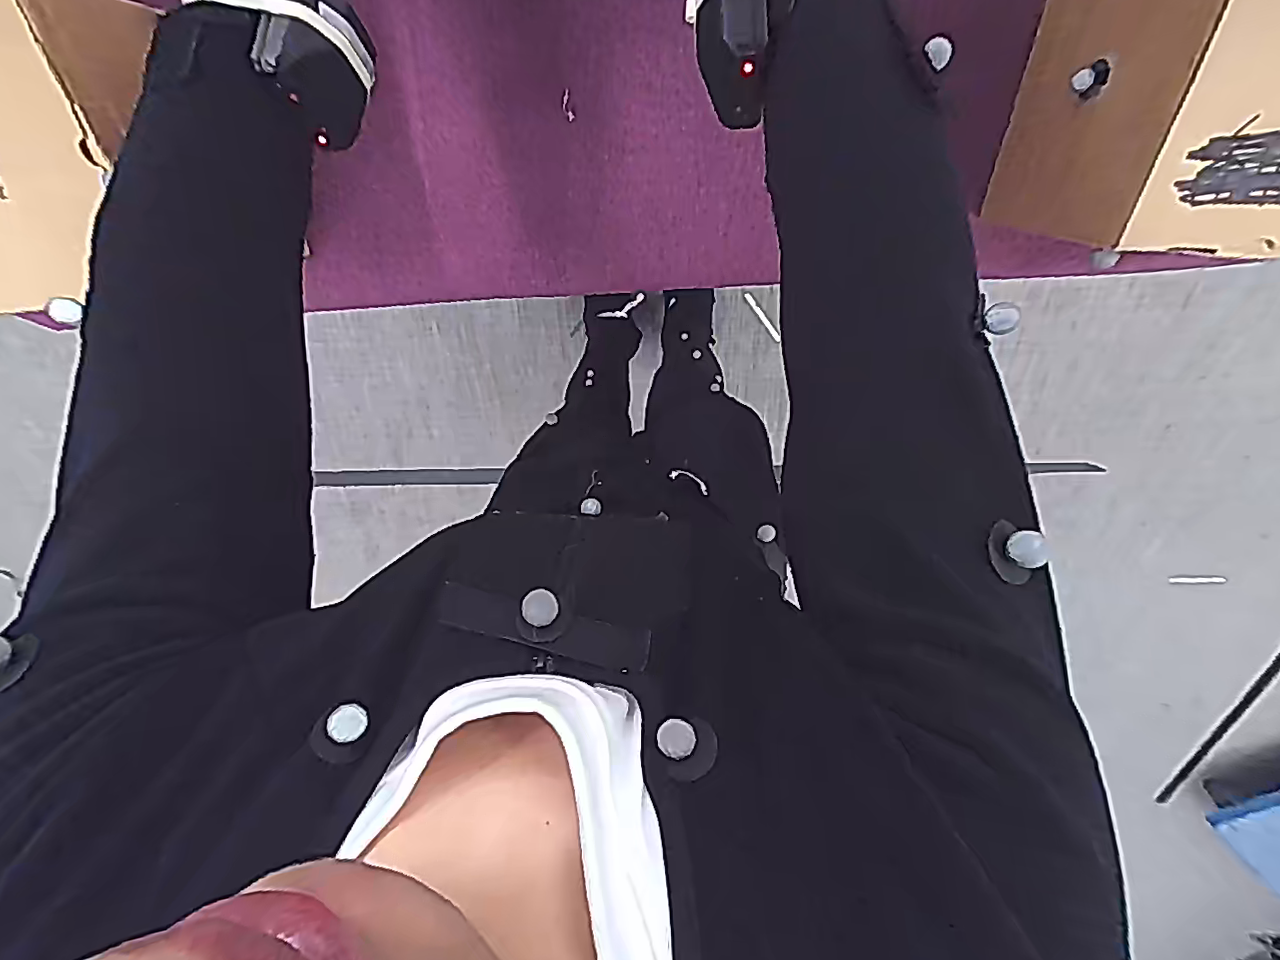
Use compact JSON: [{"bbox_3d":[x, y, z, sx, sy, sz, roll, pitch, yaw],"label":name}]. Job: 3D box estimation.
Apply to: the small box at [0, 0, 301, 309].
[{"bbox_3d":[-0.399,-0.227,0.391,0.179,0.176,0.168,-5,120,4],"label":"small box"}]
